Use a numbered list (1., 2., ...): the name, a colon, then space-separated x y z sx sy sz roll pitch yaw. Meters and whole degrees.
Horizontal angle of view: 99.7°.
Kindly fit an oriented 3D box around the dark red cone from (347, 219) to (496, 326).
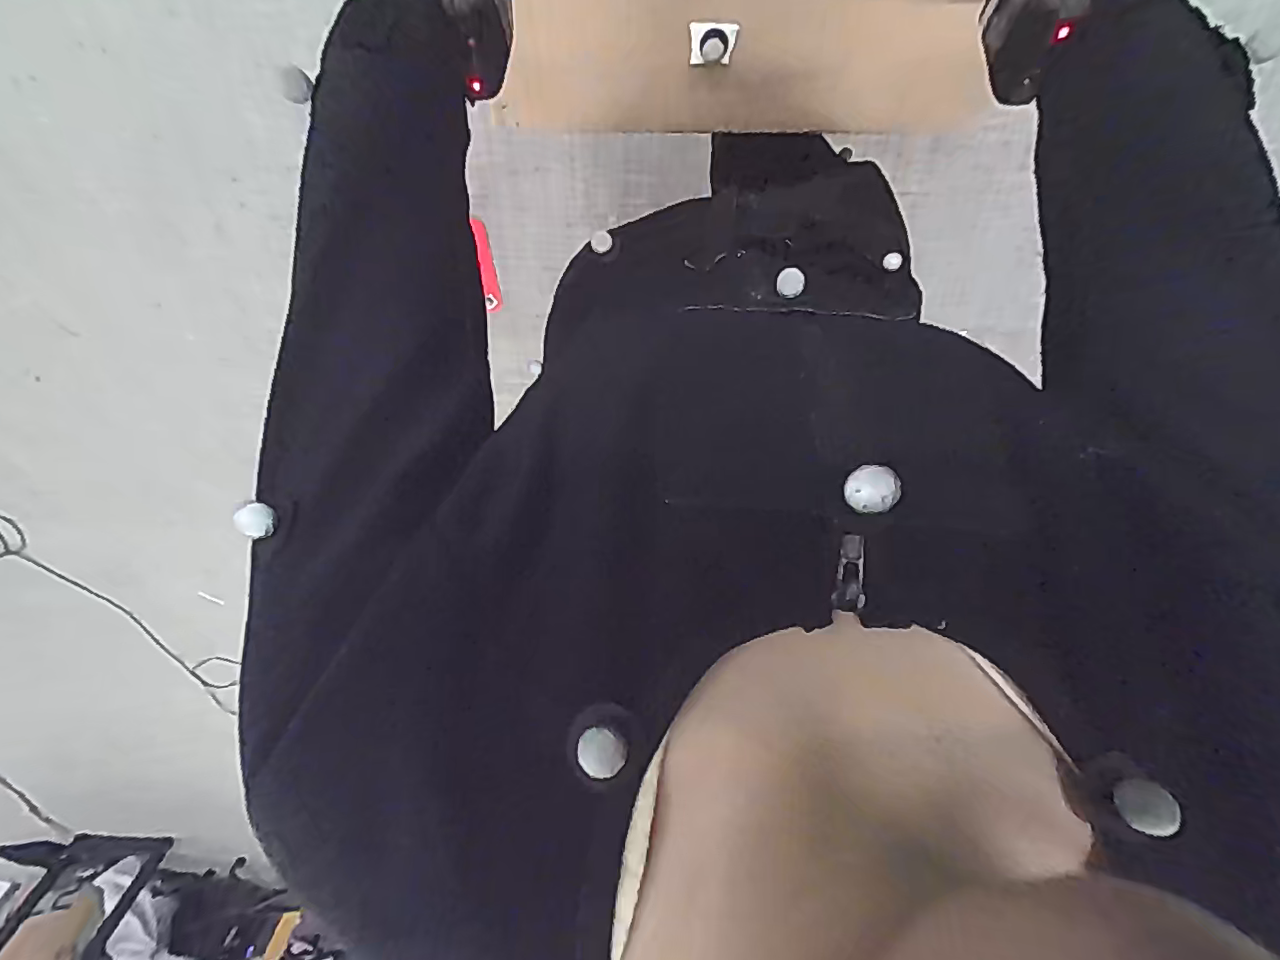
1. dark red cone: -0.439 -0.369 1.044 0.202 0.394 0.201 -4 121 7
